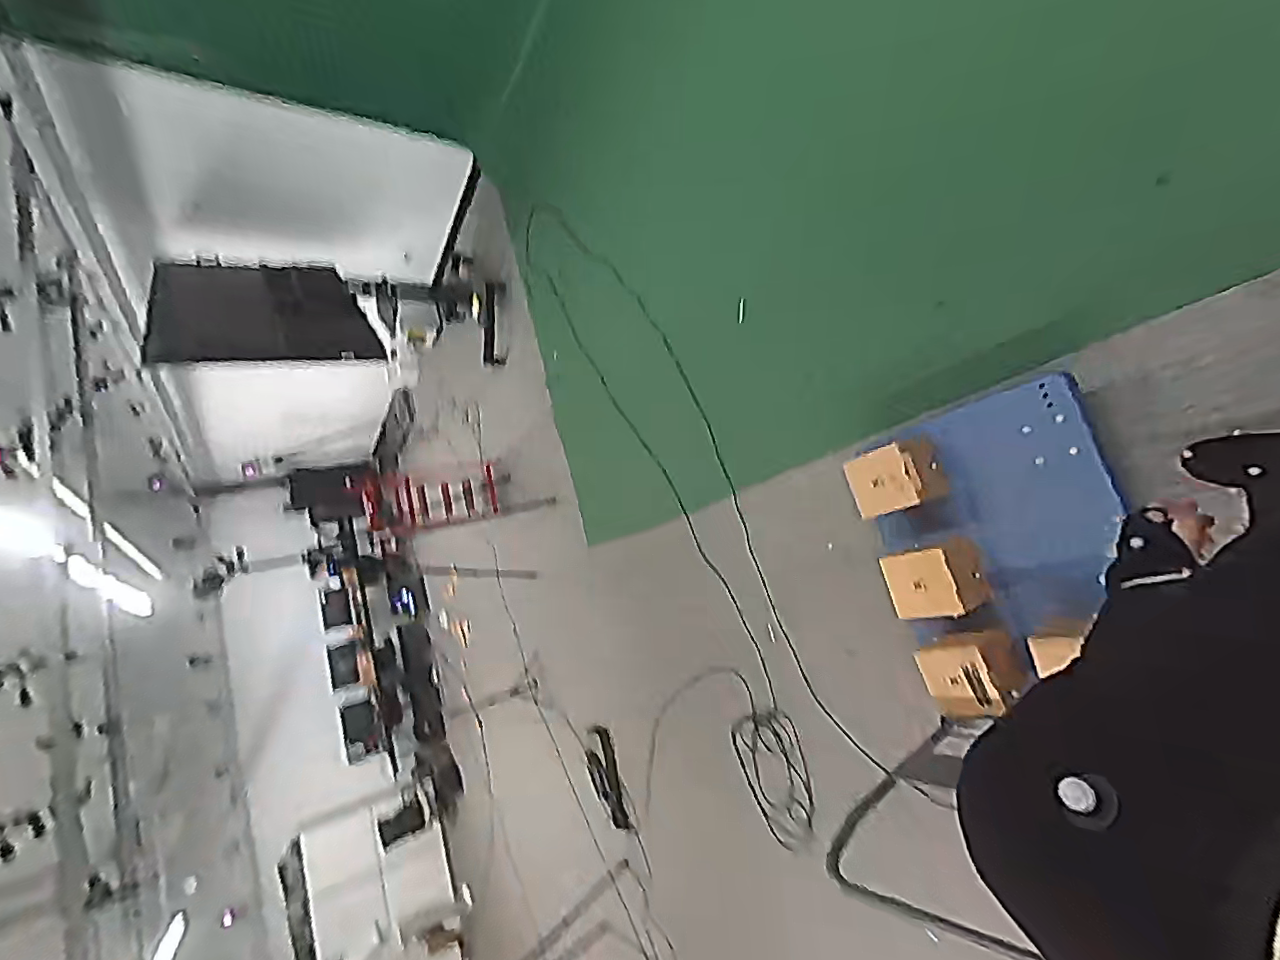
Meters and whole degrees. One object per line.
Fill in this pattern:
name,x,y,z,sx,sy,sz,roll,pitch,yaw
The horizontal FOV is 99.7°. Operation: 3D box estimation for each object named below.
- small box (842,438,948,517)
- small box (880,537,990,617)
small box,0.701,-0.006,1.486,0.179,0.176,0.168,-30,74,52
small box,0.783,0.258,1.437,0.179,0.176,0.168,-28,75,52
